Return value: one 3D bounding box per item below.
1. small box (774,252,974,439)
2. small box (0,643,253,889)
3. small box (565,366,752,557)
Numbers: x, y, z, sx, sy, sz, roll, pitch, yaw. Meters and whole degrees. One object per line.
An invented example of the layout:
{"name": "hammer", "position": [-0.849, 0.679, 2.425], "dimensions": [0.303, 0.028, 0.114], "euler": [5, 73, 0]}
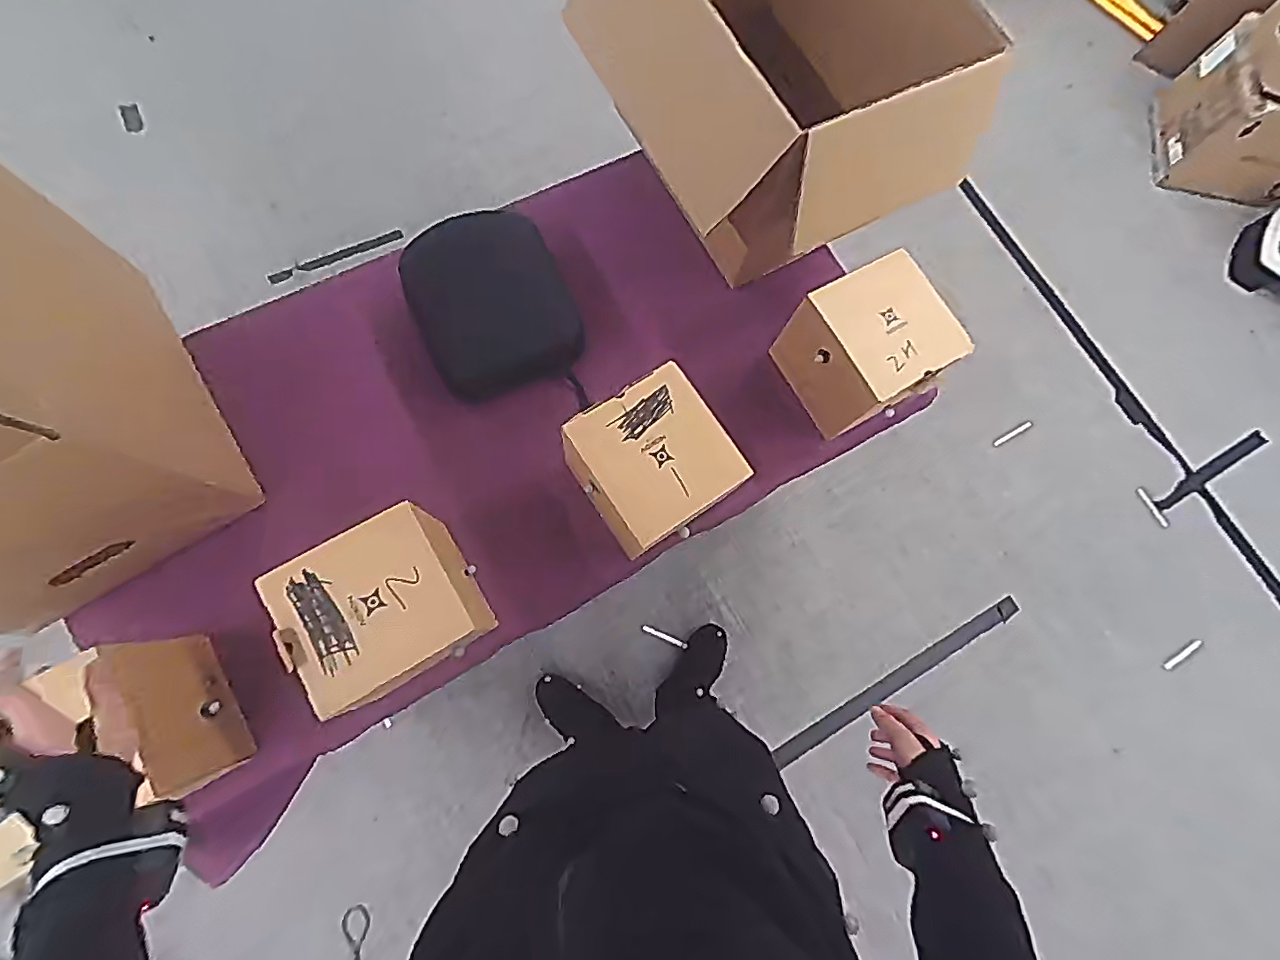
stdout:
{"name": "small box", "position": [0.323, -0.186, 0.789], "dimensions": [0.168, 0.176, 0.179], "euler": [-28, 80, -10]}
{"name": "small box", "position": [-0.581, 0.296, 0.590], "dimensions": [0.179, 0.176, 0.168], "euler": [-29, 81, -13]}
{"name": "small box", "position": [0.014, -0.014, 0.721], "dimensions": [0.168, 0.176, 0.179], "euler": [-33, 83, -11]}
